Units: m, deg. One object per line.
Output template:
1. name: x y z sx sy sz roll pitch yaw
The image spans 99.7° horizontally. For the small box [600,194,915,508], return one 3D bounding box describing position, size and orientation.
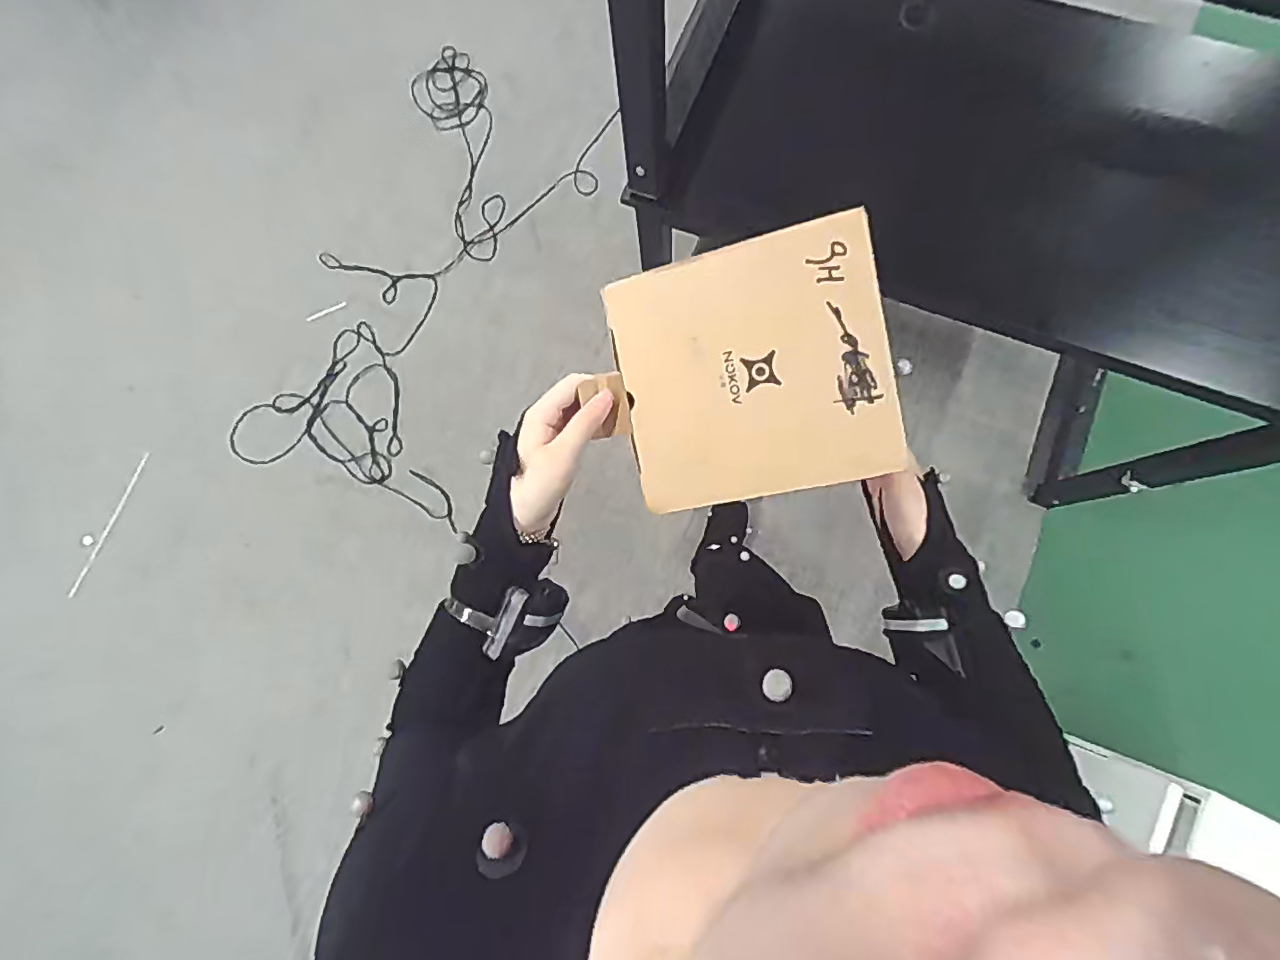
1. small box: 0.091 -0.080 0.415 0.179 0.176 0.168 -10 94 17
